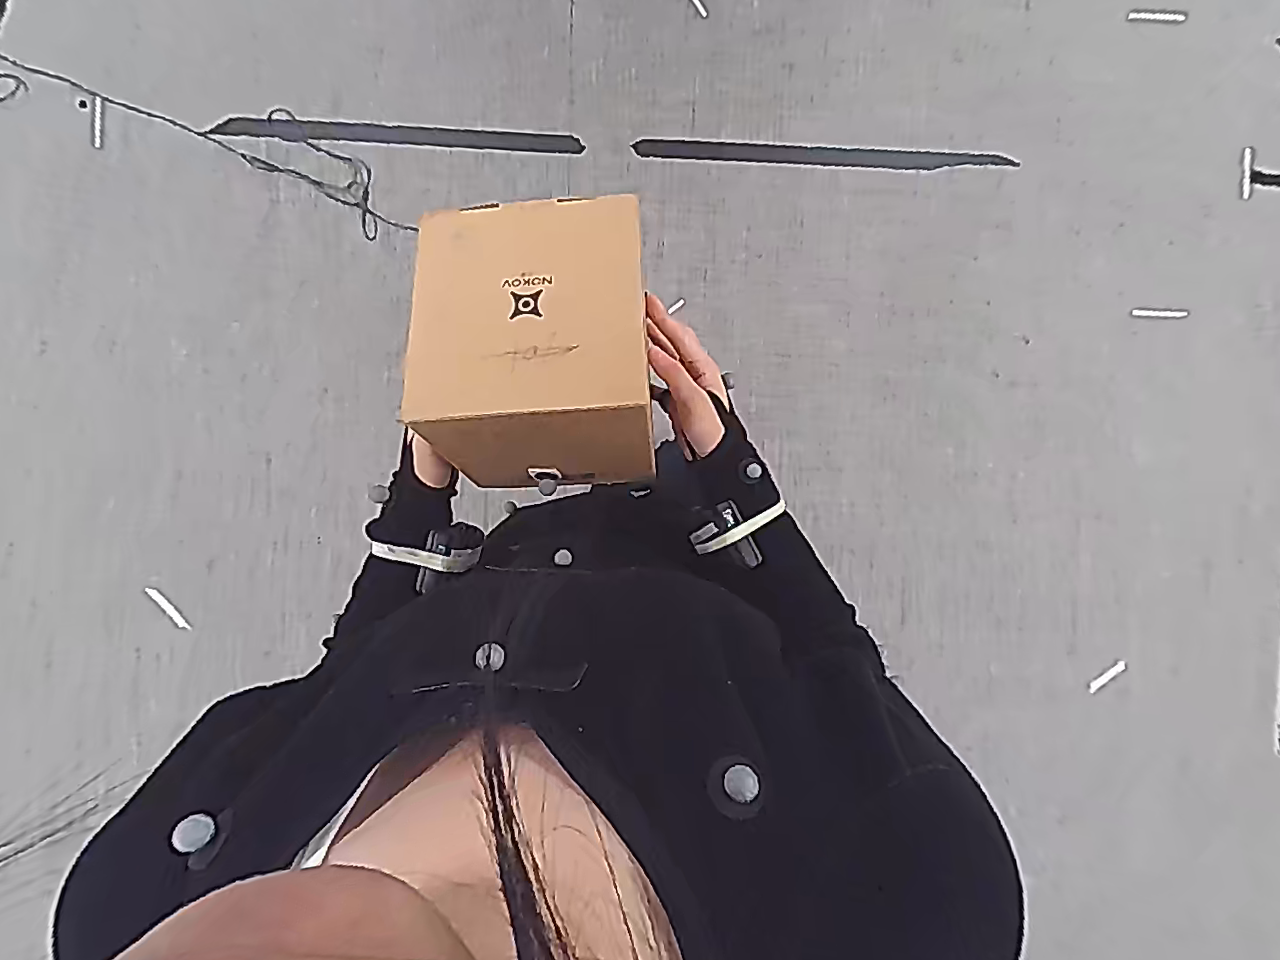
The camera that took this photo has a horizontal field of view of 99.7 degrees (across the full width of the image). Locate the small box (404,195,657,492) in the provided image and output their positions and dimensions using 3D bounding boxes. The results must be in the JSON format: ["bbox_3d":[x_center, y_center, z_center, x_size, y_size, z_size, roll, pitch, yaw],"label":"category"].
[{"bbox_3d":[-0.073,-0.100,0.453,0.168,0.176,0.179,-4,73,3],"label":"small box"}]
